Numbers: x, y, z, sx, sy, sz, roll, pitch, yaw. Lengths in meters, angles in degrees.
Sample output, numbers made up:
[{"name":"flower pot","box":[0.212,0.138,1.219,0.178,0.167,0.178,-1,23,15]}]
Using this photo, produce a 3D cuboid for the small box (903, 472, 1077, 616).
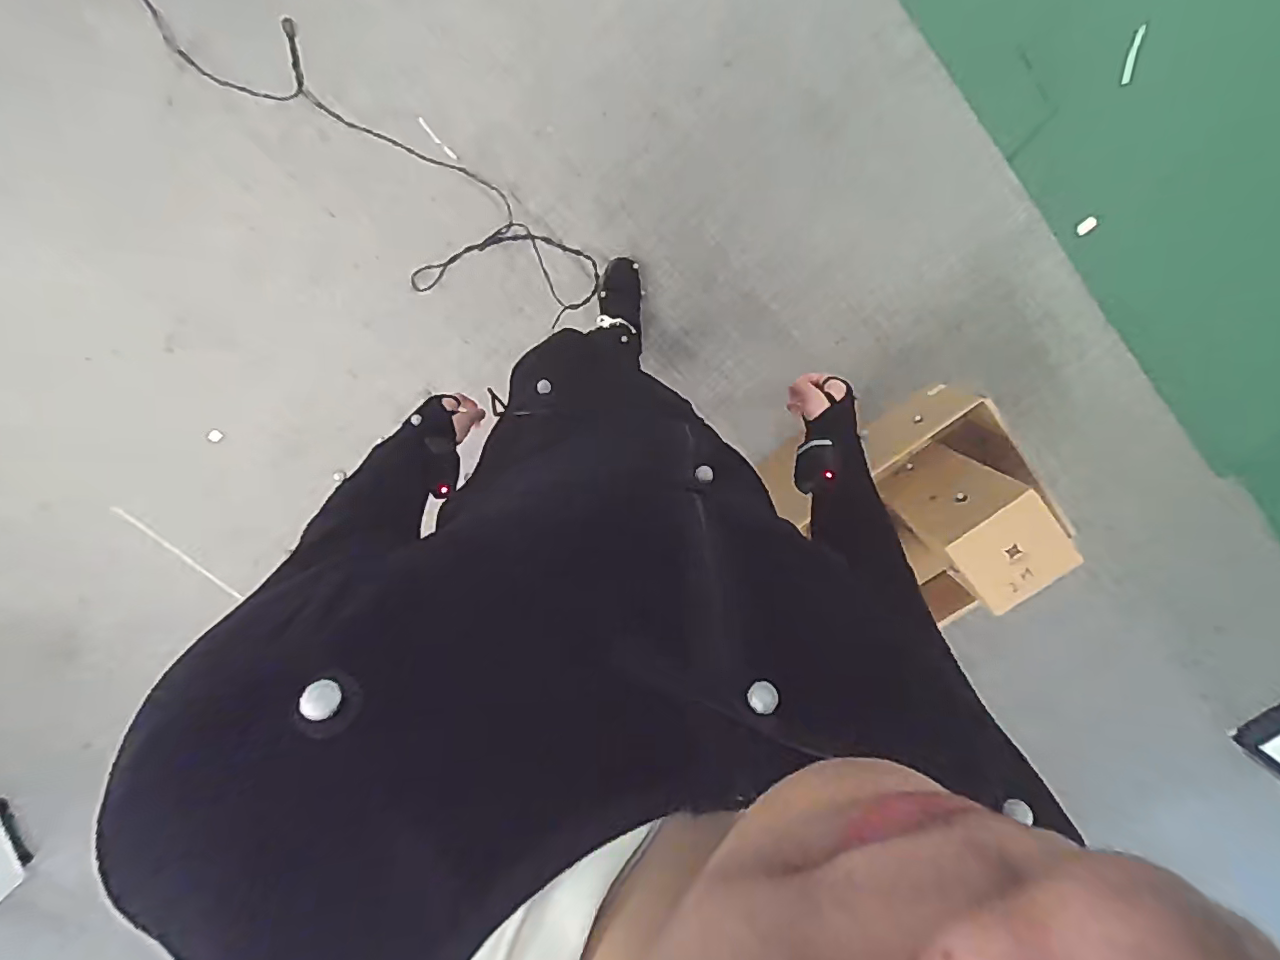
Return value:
[{"name":"small box","box":[0.620,0.103,0.983,0.168,0.176,0.179,-39,102,13]}]
